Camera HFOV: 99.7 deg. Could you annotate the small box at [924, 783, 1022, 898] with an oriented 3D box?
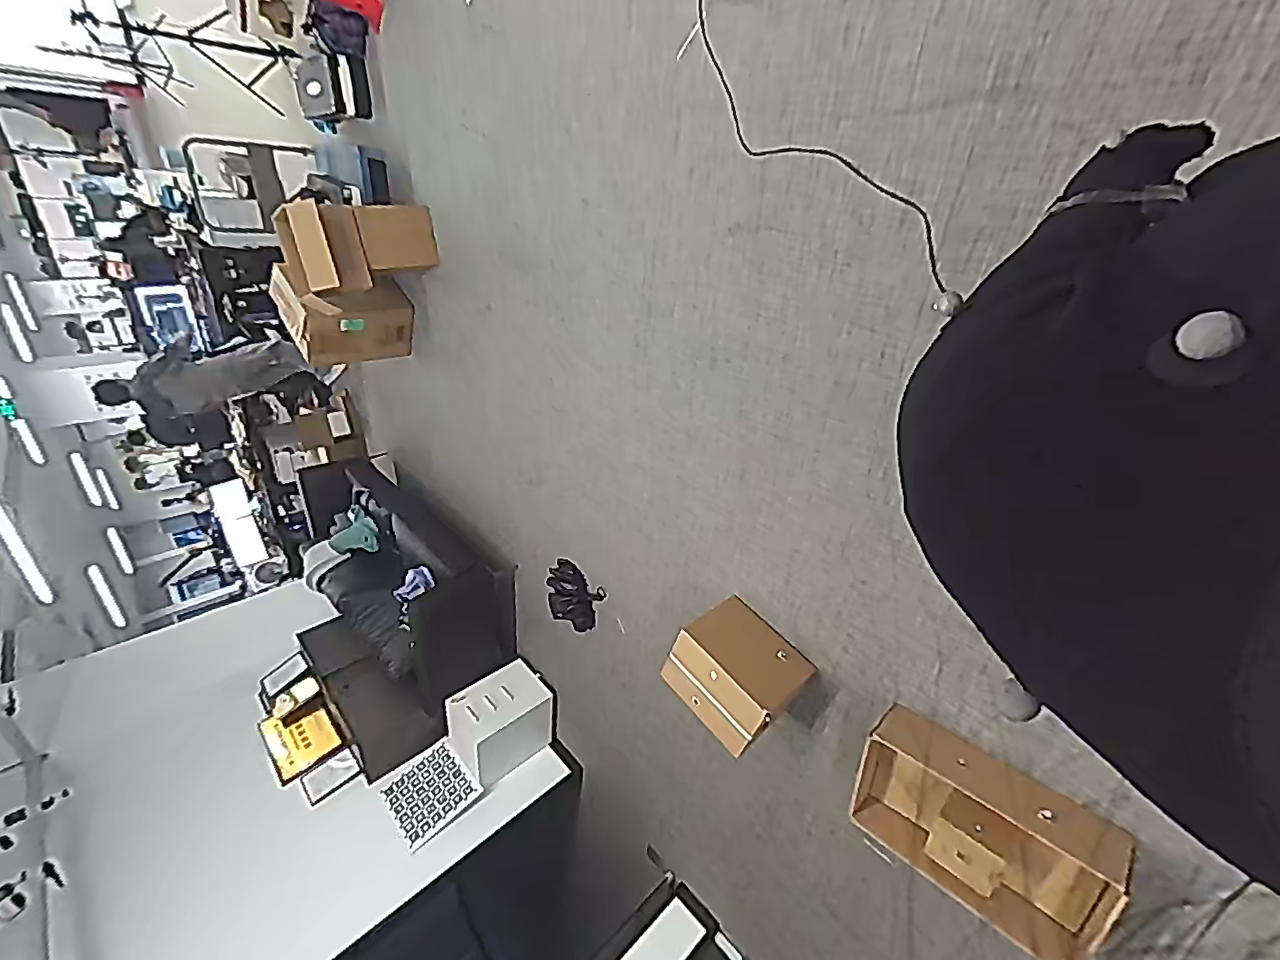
[{"bbox_3d":[0.947,1.012,1.534,0.179,0.176,0.168,25,124,42],"label":"small box"}]
